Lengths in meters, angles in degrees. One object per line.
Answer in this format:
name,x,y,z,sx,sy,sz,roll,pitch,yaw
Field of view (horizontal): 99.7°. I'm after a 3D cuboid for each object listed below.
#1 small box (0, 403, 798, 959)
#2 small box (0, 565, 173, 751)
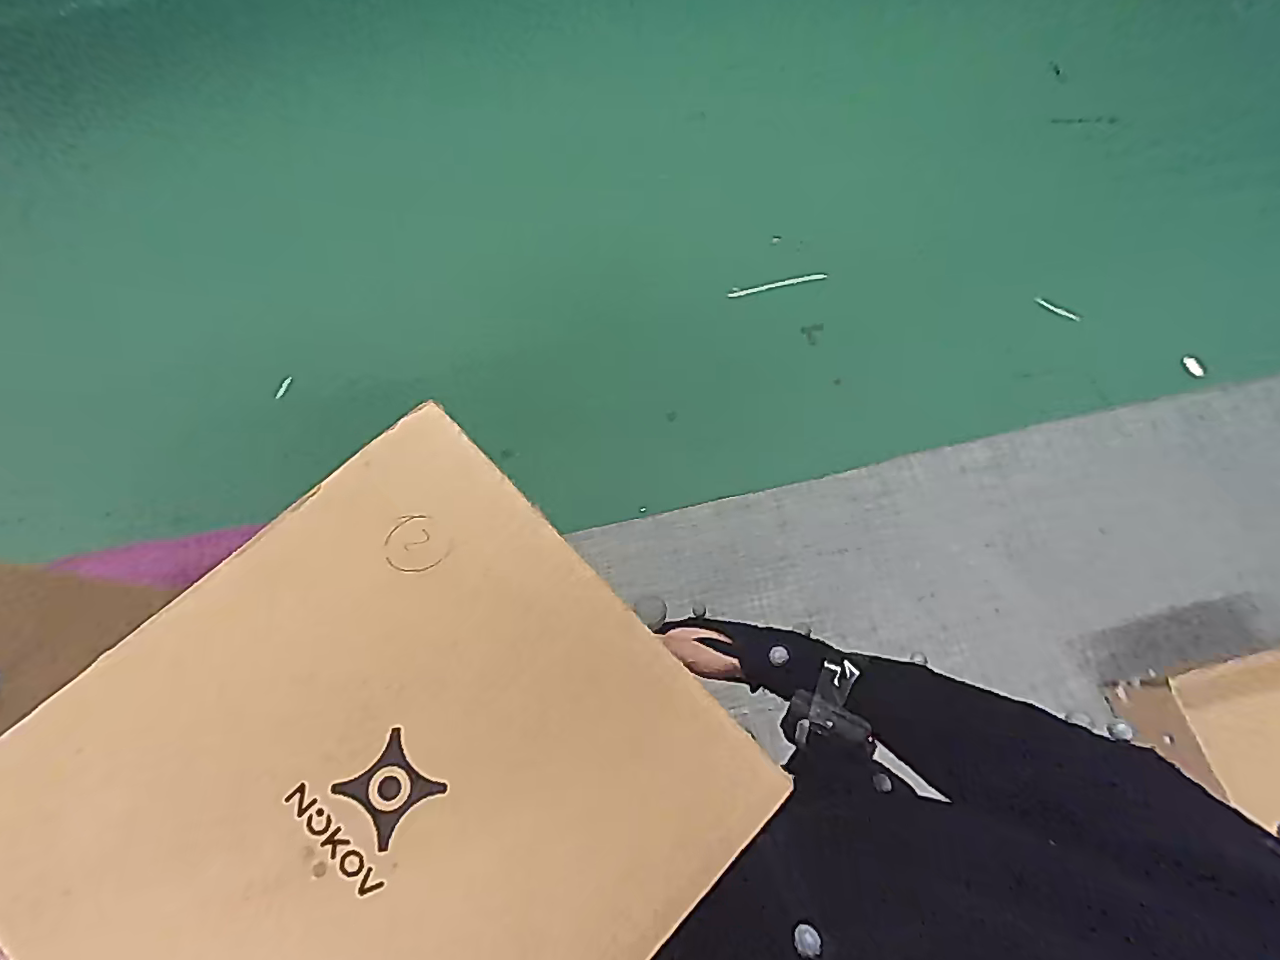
small box,-0.072,0.103,0.235,0.179,0.176,0.168,-42,83,-11
small box,-0.577,0.184,0.478,0.179,0.176,0.168,-13,70,1
